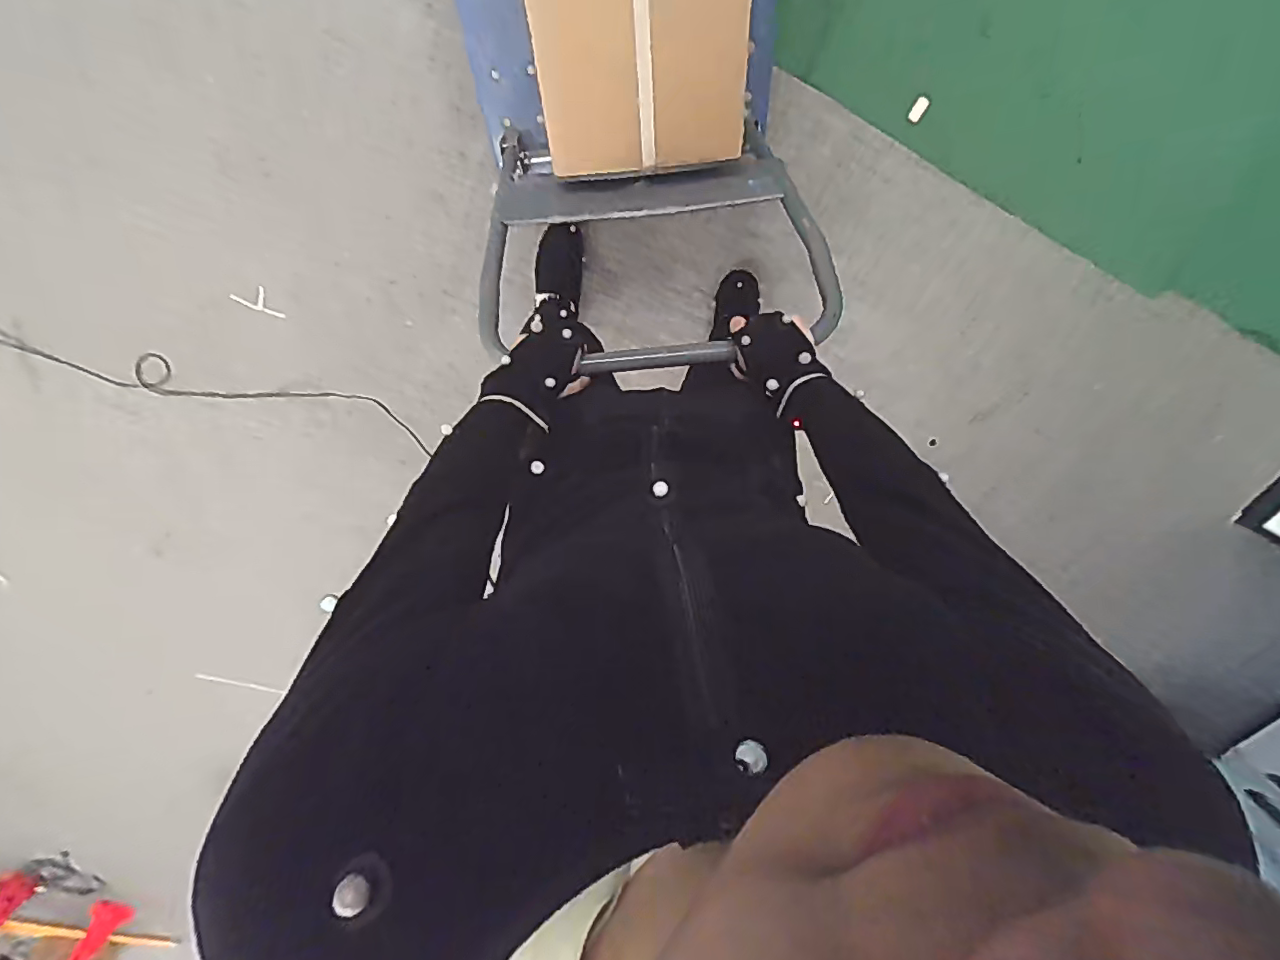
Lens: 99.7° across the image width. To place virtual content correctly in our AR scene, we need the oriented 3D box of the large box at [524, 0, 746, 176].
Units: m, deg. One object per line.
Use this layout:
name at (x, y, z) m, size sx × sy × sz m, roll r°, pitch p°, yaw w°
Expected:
large box at (-0.013, -0.762, 0.856) m, size 0.320 × 0.320 × 0.408 m, roll -7°, pitch 136°, yaw 0°
